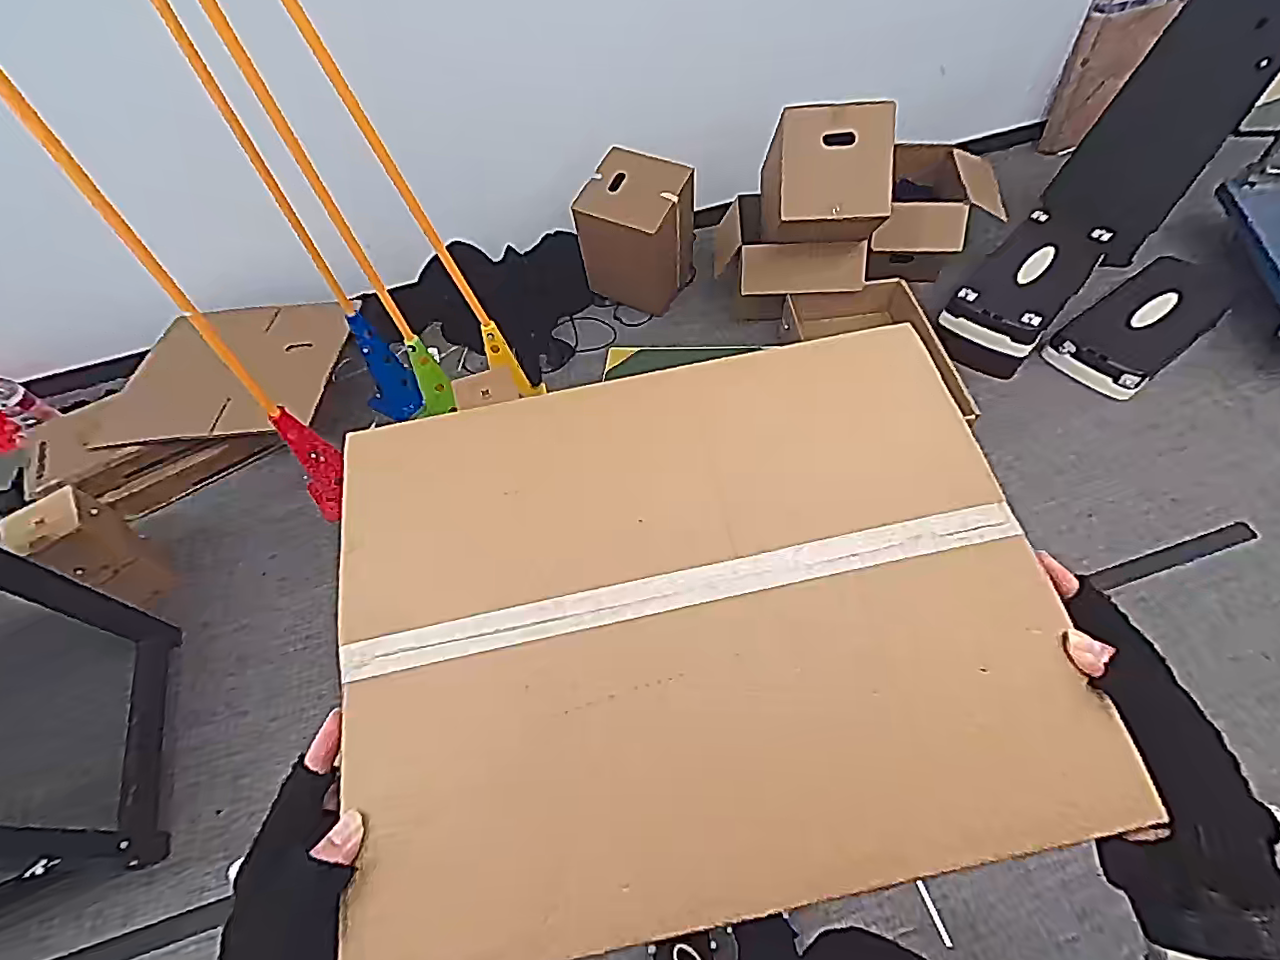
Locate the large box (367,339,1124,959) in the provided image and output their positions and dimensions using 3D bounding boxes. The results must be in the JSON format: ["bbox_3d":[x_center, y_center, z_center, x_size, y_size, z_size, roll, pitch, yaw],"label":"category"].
[{"bbox_3d":[0.036,0.133,0.468,0.408,0.320,0.320,-12,67,-2],"label":"large box"}]
